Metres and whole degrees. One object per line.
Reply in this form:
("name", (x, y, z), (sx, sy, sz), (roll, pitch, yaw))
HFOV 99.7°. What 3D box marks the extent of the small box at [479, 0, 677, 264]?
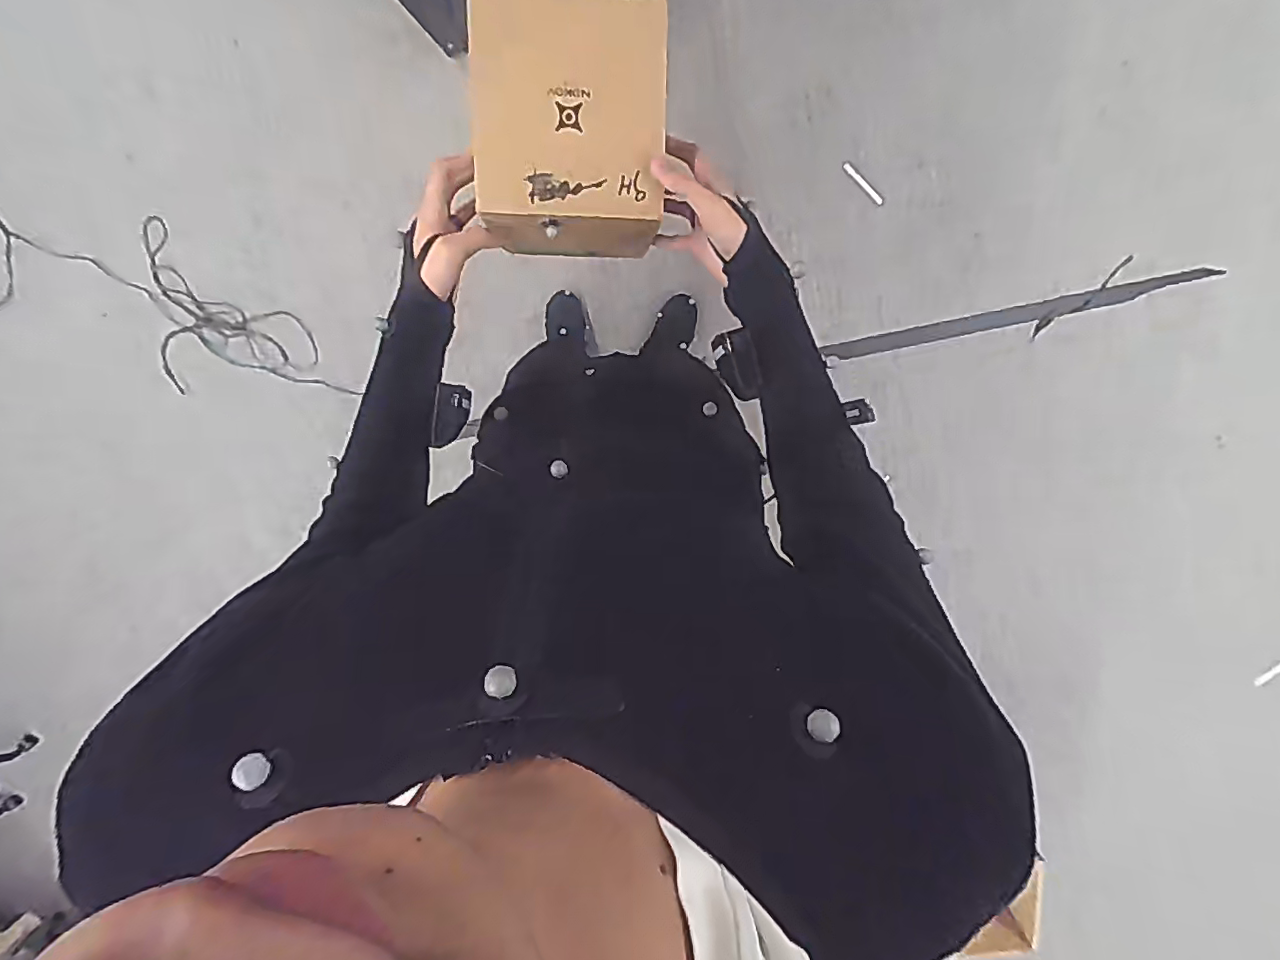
("small box", (-0.060, -0.327, 0.536), (0.168, 0.176, 0.179), (0, 102, -5))
